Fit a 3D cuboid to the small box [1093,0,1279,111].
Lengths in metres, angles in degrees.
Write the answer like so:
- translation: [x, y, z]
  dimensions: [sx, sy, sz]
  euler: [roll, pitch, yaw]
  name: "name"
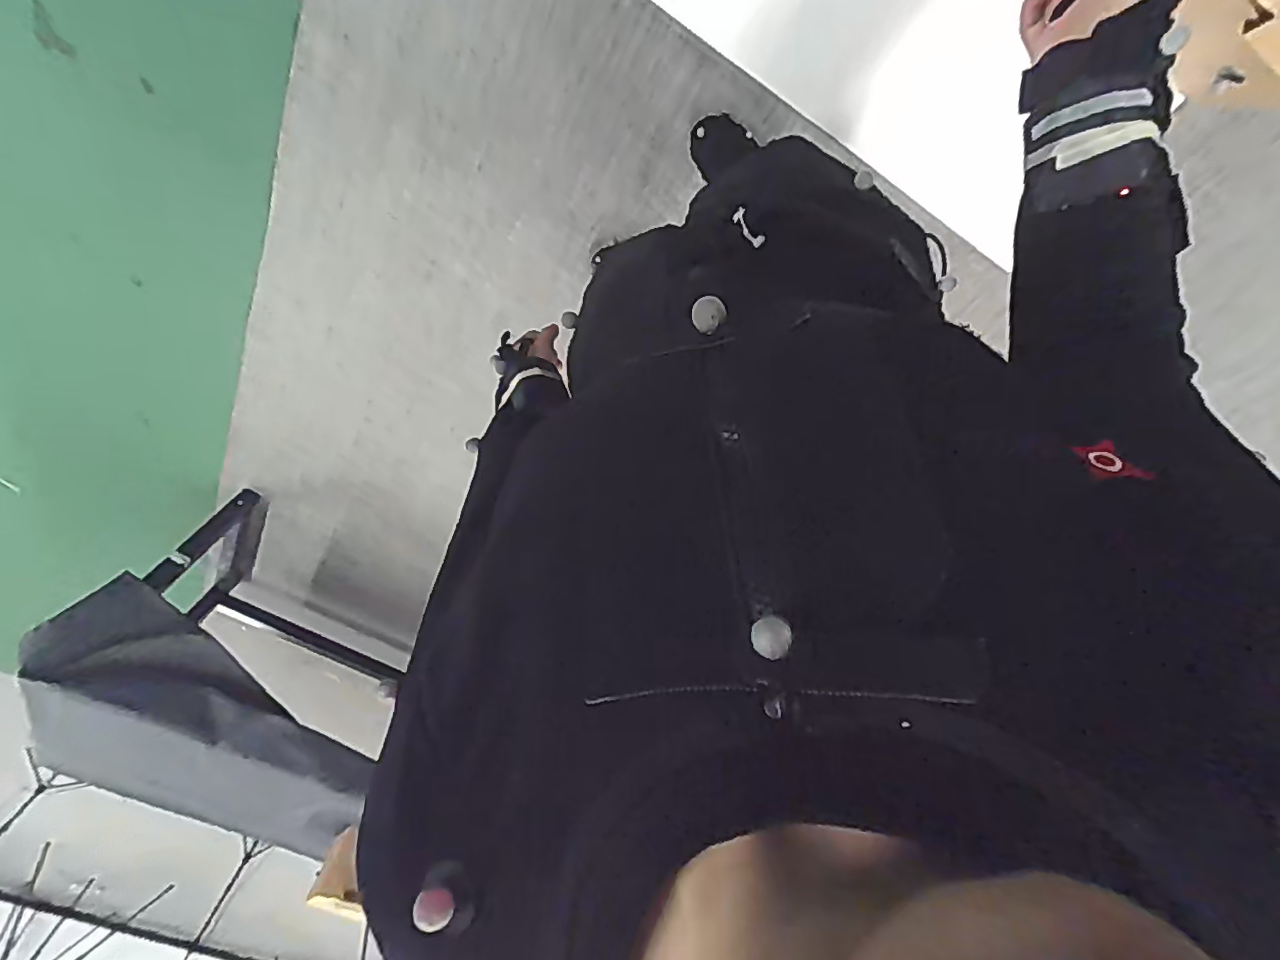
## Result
- translation: [0.469, -0.385, 0.371]
  dimensions: [0.168, 0.176, 0.179]
  euler: [28, 125, -13]
  name: "small box"
